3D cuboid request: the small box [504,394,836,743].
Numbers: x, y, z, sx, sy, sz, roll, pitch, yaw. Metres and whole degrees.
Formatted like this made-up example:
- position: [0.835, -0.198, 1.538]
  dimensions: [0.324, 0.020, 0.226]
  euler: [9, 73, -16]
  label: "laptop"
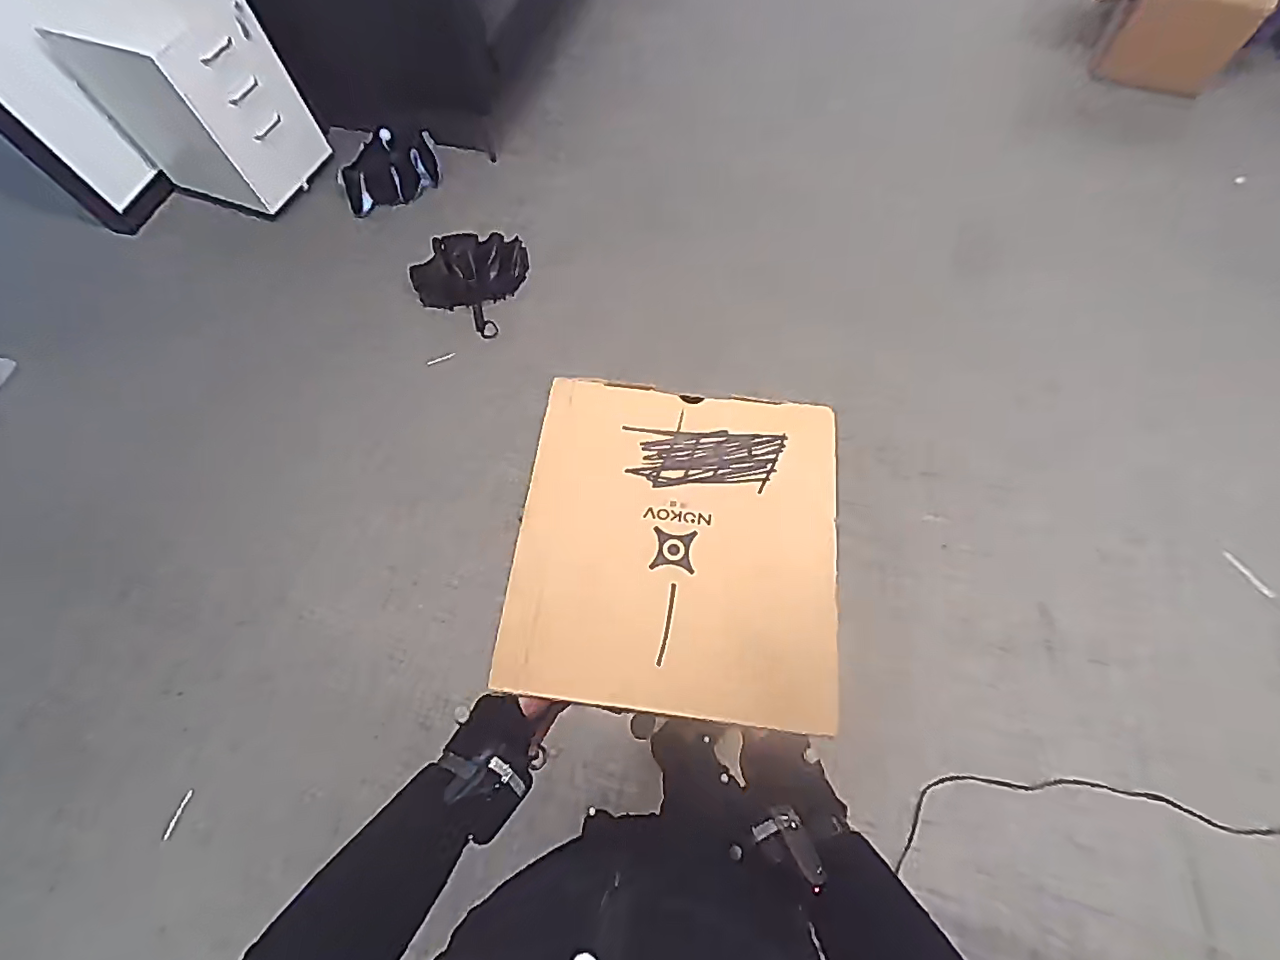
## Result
- position: [0.022, 0.067, 0.366]
  dimensions: [0.168, 0.176, 0.179]
  euler: [7, 68, 2]
  label: "small box"
